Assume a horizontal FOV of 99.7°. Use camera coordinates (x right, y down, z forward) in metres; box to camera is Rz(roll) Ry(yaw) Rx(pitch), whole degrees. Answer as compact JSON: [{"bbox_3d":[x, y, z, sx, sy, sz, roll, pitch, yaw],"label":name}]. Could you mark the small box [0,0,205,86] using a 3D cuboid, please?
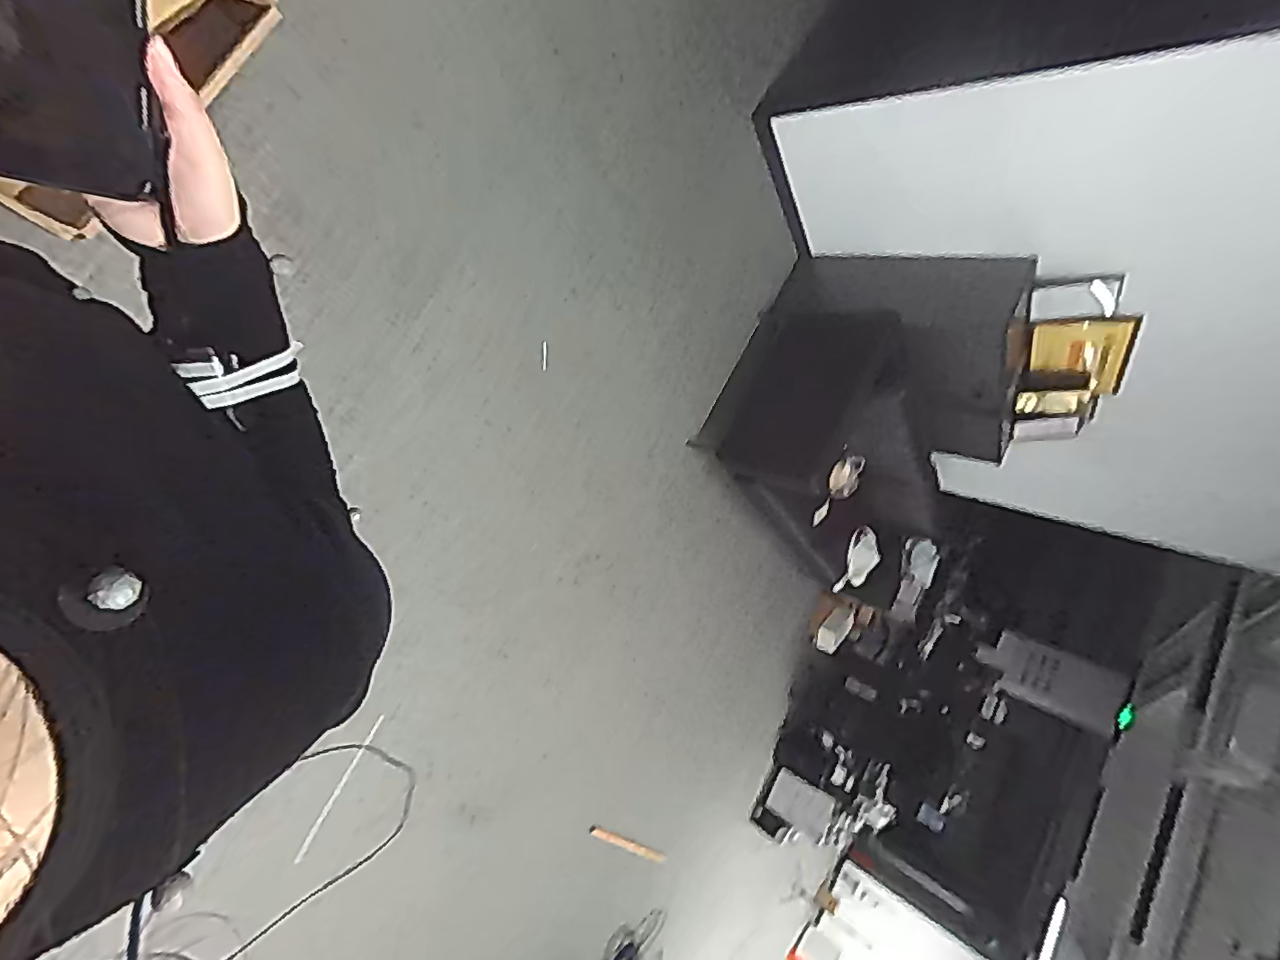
[{"bbox_3d":[-0.609,-0.565,0.581,0.179,0.176,0.168,-55,140,-16],"label":"small box"}]
